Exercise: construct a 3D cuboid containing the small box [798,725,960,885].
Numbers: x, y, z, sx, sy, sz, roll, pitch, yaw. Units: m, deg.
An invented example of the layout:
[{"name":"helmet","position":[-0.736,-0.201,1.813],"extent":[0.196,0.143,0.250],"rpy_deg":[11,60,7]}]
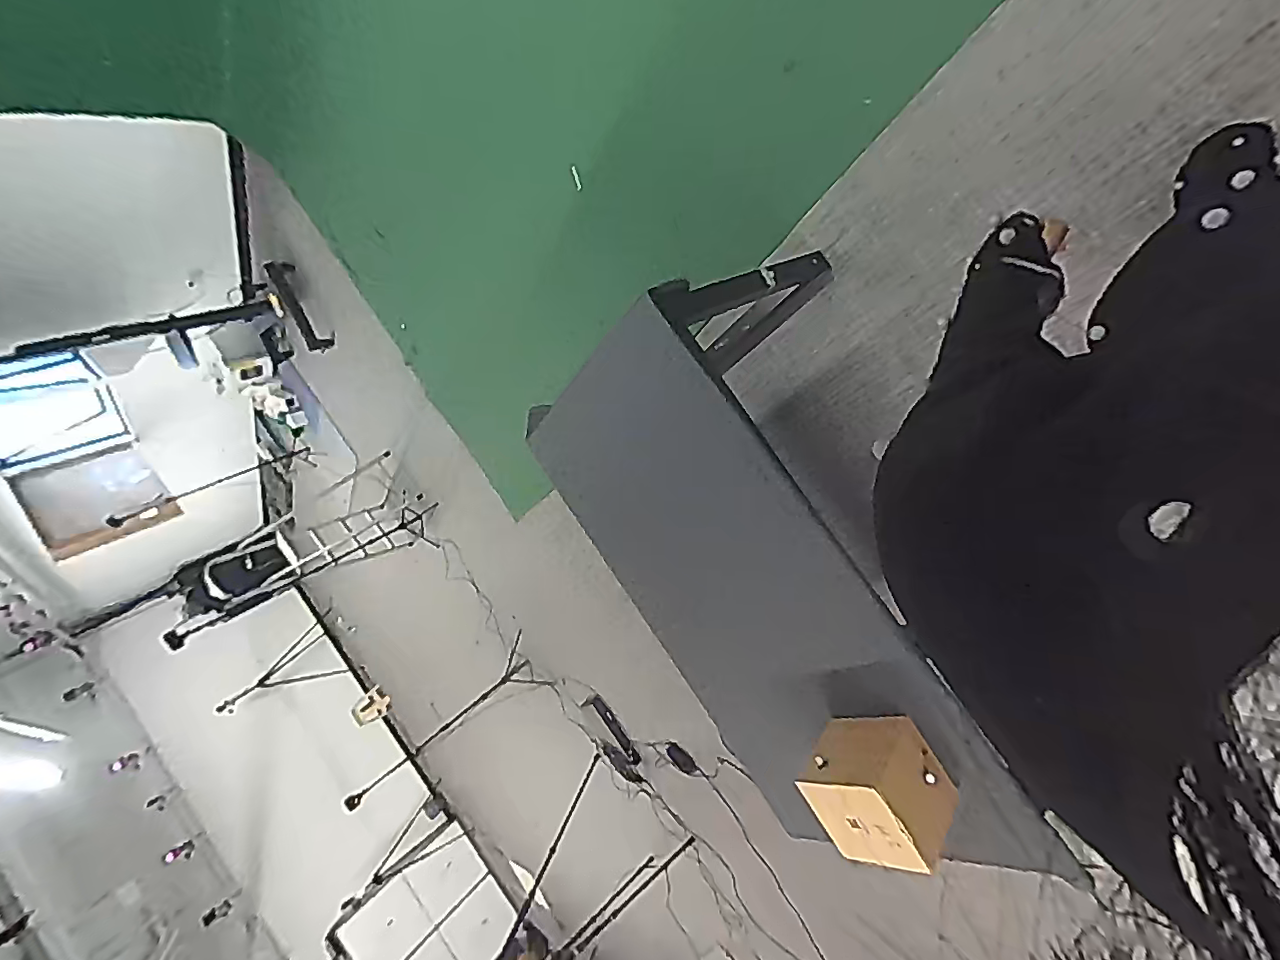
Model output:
[{"name":"small box","position":[0.422,0.556,0.951],"extent":[0.168,0.176,0.179],"rpy_deg":[56,138,1]}]
